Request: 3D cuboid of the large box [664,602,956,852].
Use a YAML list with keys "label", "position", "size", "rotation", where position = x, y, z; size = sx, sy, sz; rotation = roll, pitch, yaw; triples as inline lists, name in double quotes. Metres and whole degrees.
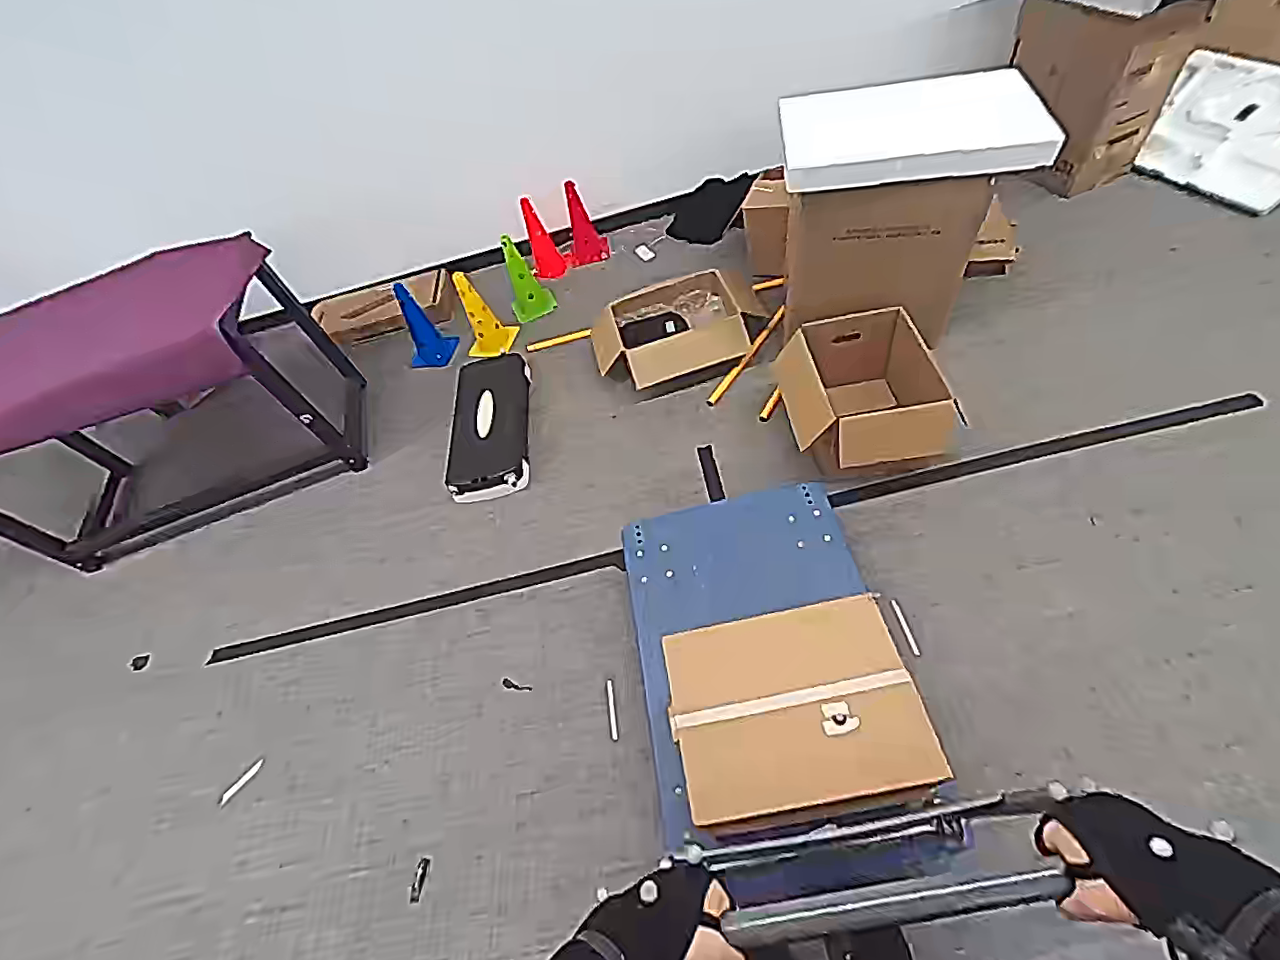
- label: "large box"
  position: [0.283, 0.473, 1.018]
  size: [0.408, 0.320, 0.320]
  rotation: [-13, 53, 3]
